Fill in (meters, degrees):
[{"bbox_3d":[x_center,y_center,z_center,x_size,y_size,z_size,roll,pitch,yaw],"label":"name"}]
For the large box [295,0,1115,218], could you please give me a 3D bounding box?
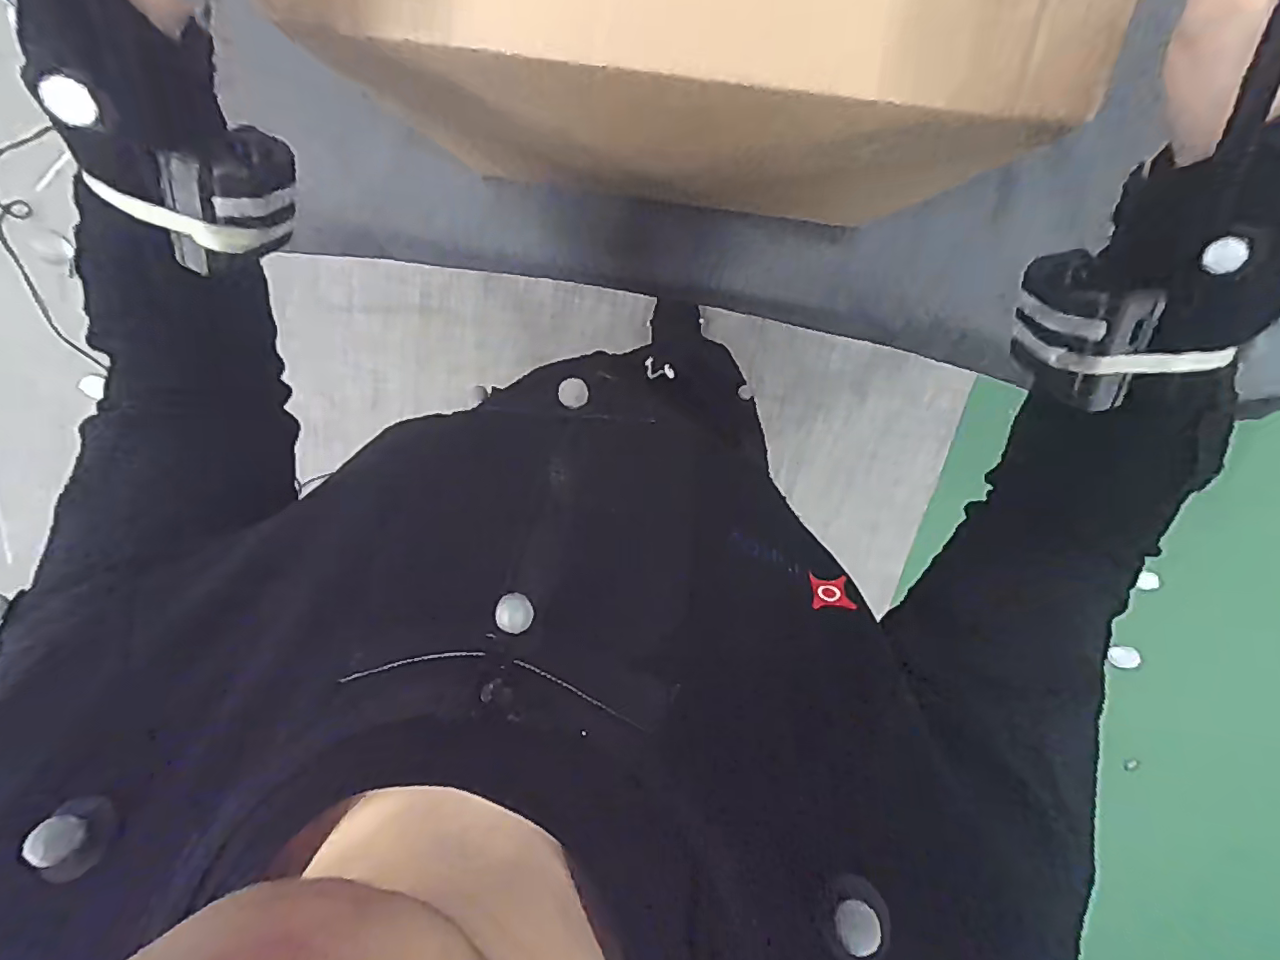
[{"bbox_3d":[0.044,-0.391,0.369,0.408,0.320,0.320,7,108,0],"label":"large box"}]
